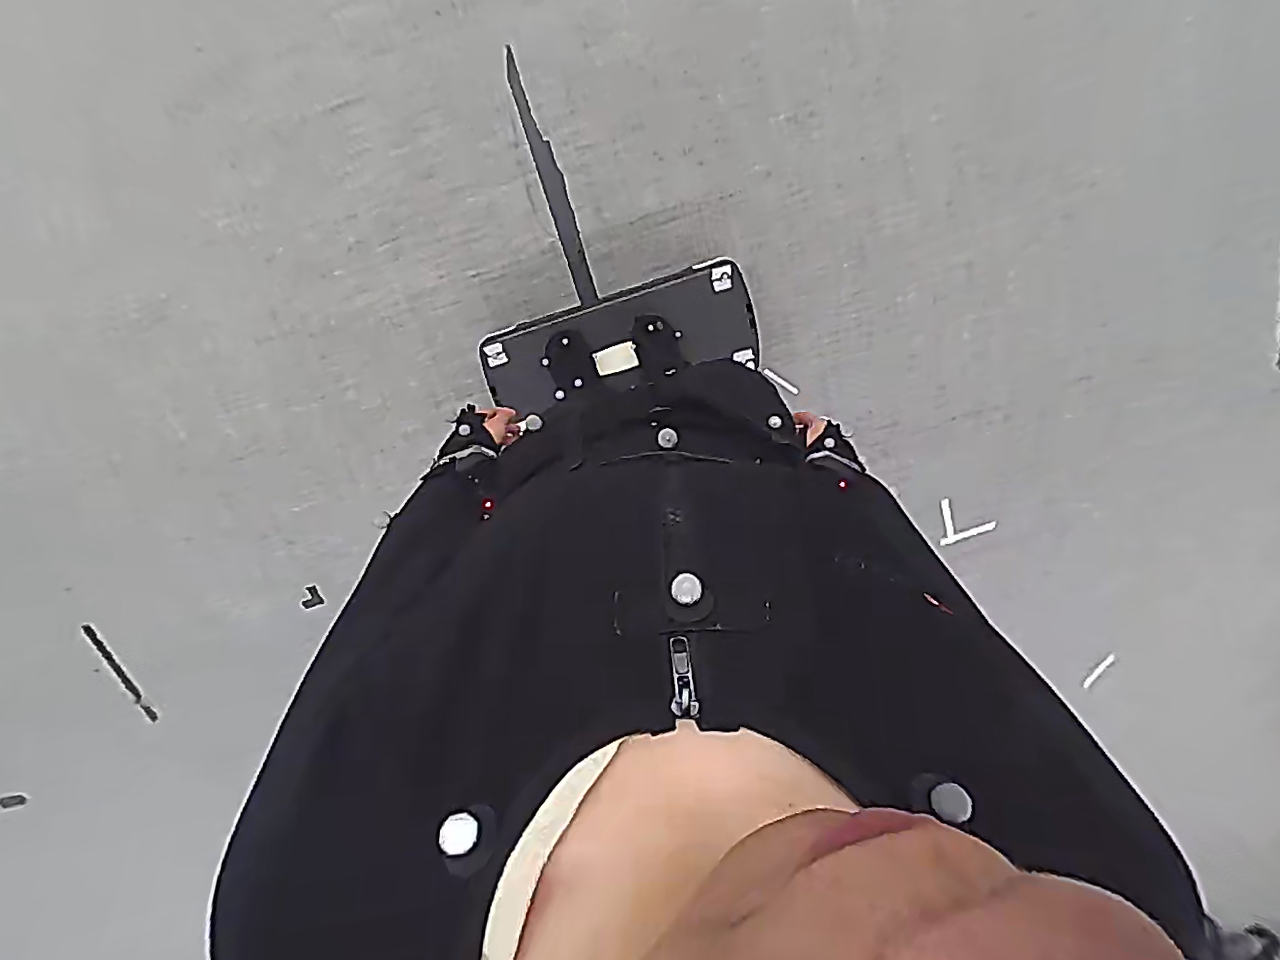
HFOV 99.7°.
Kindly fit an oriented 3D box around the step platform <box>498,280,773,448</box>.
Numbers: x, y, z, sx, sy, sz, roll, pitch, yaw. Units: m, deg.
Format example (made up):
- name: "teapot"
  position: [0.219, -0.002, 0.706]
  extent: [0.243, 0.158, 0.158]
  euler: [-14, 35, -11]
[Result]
- name: "step platform"
  position: [-0.010, -0.298, 1.396]
  extent: [0.684, 0.204, 0.286]
  euler: [-14, 108, 2]
